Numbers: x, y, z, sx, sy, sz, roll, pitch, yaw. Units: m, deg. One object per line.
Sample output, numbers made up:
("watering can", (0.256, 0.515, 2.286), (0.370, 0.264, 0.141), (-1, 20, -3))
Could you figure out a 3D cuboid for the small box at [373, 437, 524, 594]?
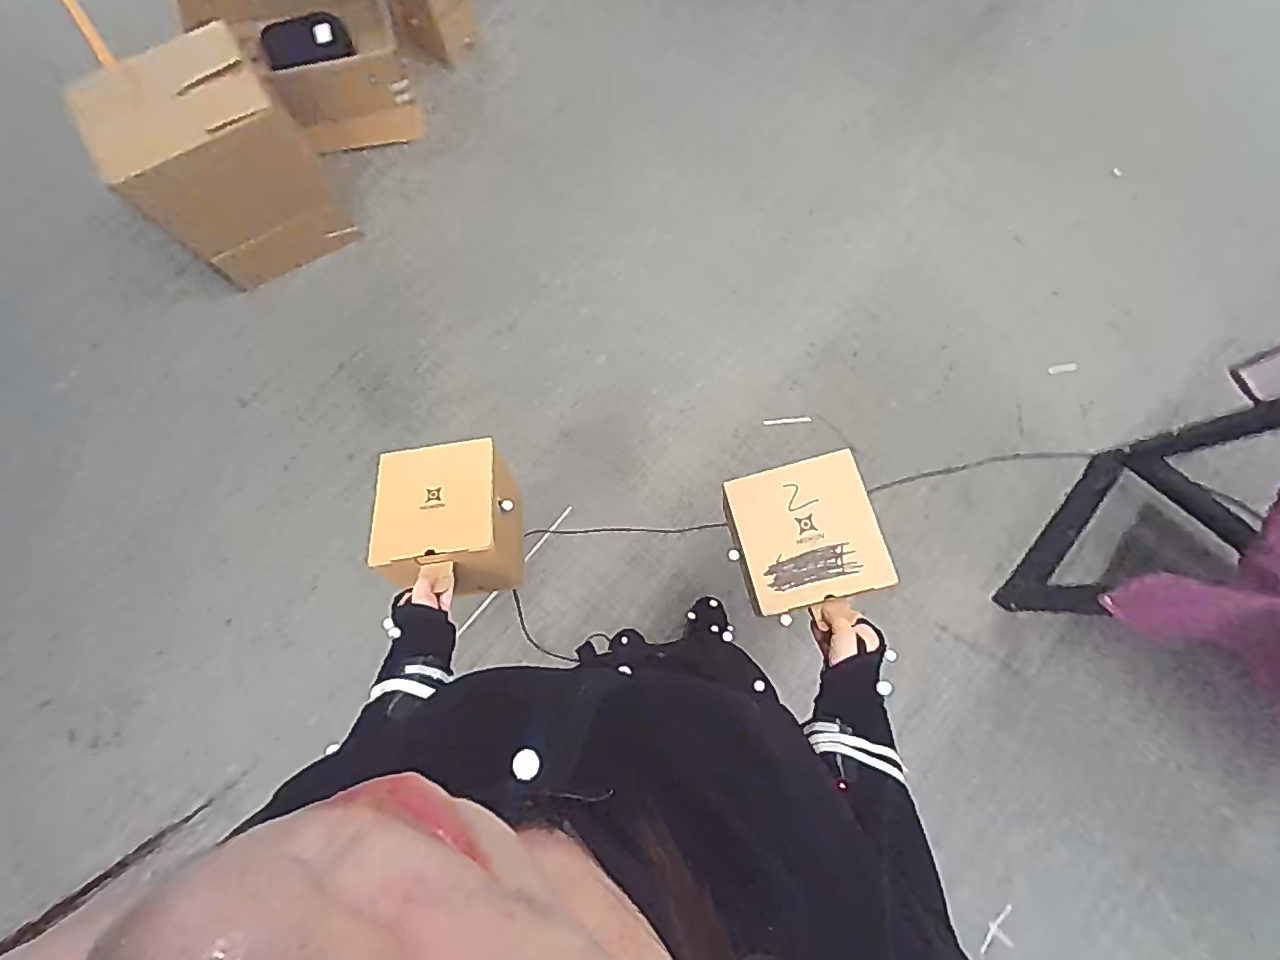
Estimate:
("small box", (-0.277, 0.058, 0.825), (0.168, 0.176, 0.179), (-7, 61, 0))
